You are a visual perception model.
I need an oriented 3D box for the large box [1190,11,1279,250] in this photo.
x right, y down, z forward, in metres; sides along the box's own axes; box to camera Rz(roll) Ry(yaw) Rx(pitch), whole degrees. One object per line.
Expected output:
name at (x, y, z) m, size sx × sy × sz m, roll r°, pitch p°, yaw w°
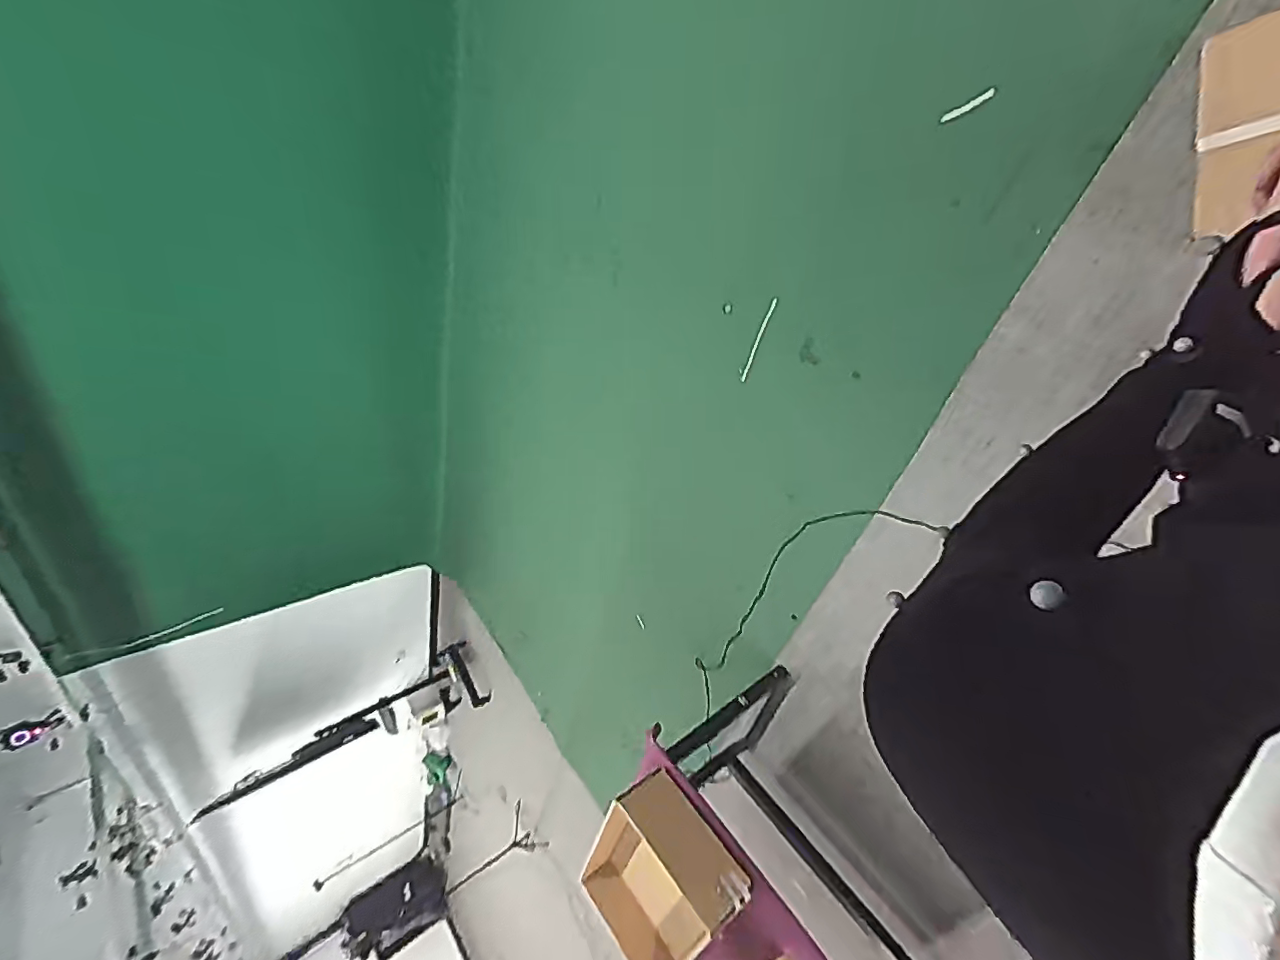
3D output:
large box at (1.140, -0.564, 0.816) m, size 0.408 × 0.320 × 0.320 m, roll 5°, pitch 106°, yaw 50°

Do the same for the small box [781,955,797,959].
small box at (0.367, 1.361, 1.367) m, size 0.168 × 0.176 × 0.179 m, roll 44°, pitch 133°, yaw 33°
